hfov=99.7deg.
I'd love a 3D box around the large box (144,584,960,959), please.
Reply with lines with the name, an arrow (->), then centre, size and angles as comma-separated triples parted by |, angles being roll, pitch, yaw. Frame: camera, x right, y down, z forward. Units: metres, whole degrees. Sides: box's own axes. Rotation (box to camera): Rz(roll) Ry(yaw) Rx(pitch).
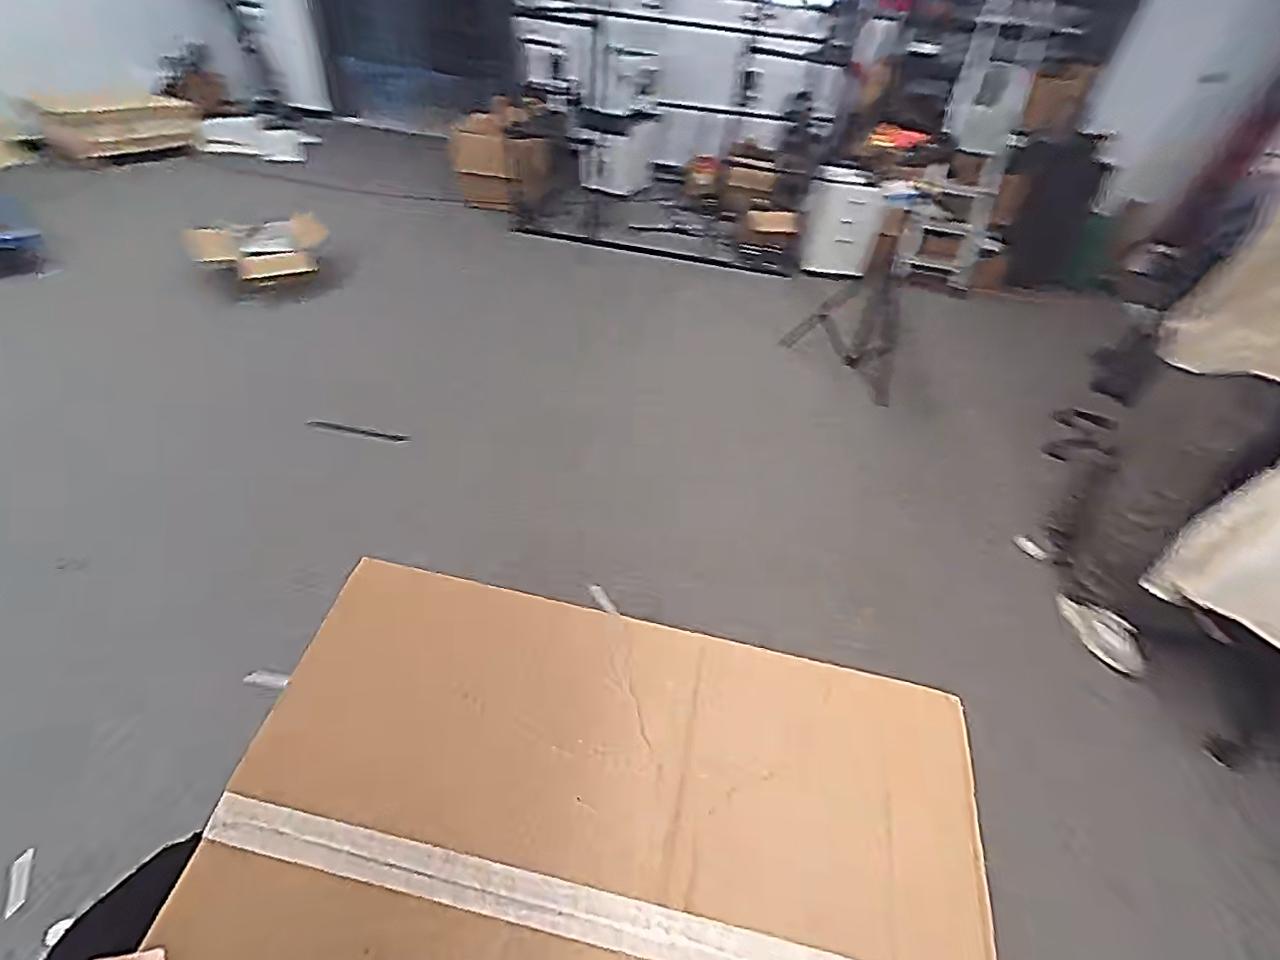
large box -> -0.044, 0.311, 0.399 | 0.408, 0.320, 0.320 | 11, 55, 4
